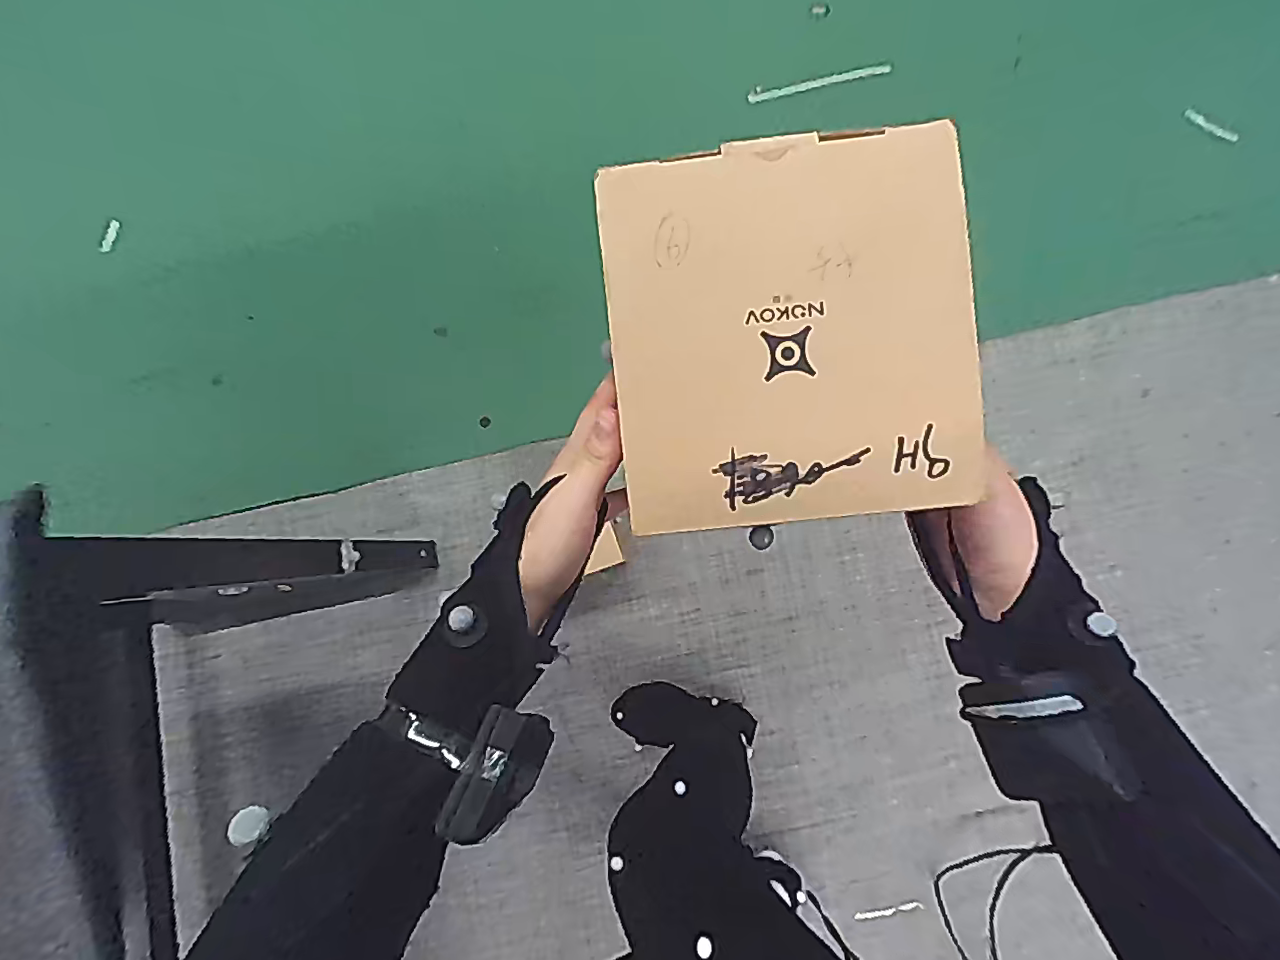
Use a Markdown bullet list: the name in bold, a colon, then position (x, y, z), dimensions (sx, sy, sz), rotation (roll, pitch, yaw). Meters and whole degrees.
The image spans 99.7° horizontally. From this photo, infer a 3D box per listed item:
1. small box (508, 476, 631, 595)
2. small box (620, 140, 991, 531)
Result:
- **small box**: position (-0.121, 0.103, 1.012), dimensions (0.179, 0.176, 0.168), rotation (-20, 82, 0)
- **small box**: position (0.081, -0.068, 0.338), dimensions (0.168, 0.176, 0.179), rotation (-6, 91, 4)
